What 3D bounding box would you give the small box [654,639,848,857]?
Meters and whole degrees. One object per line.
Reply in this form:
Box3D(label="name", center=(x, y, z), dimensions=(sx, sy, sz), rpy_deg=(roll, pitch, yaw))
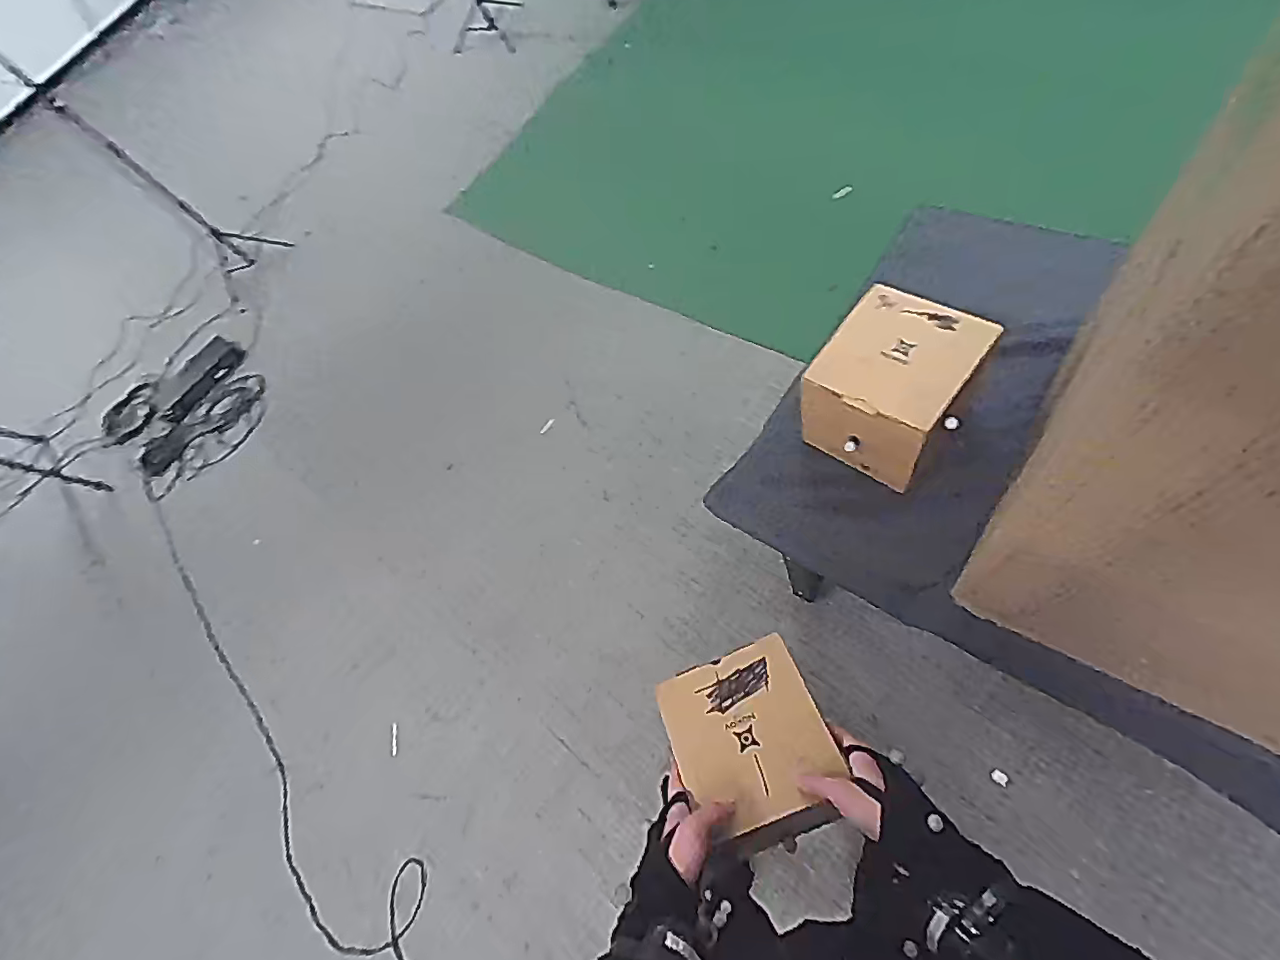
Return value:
Box3D(label="small box", center=(0.134, 0.329, 0.658), dimensions=(0.168, 0.176, 0.179), rpy_deg=(-24, 49, 3))
